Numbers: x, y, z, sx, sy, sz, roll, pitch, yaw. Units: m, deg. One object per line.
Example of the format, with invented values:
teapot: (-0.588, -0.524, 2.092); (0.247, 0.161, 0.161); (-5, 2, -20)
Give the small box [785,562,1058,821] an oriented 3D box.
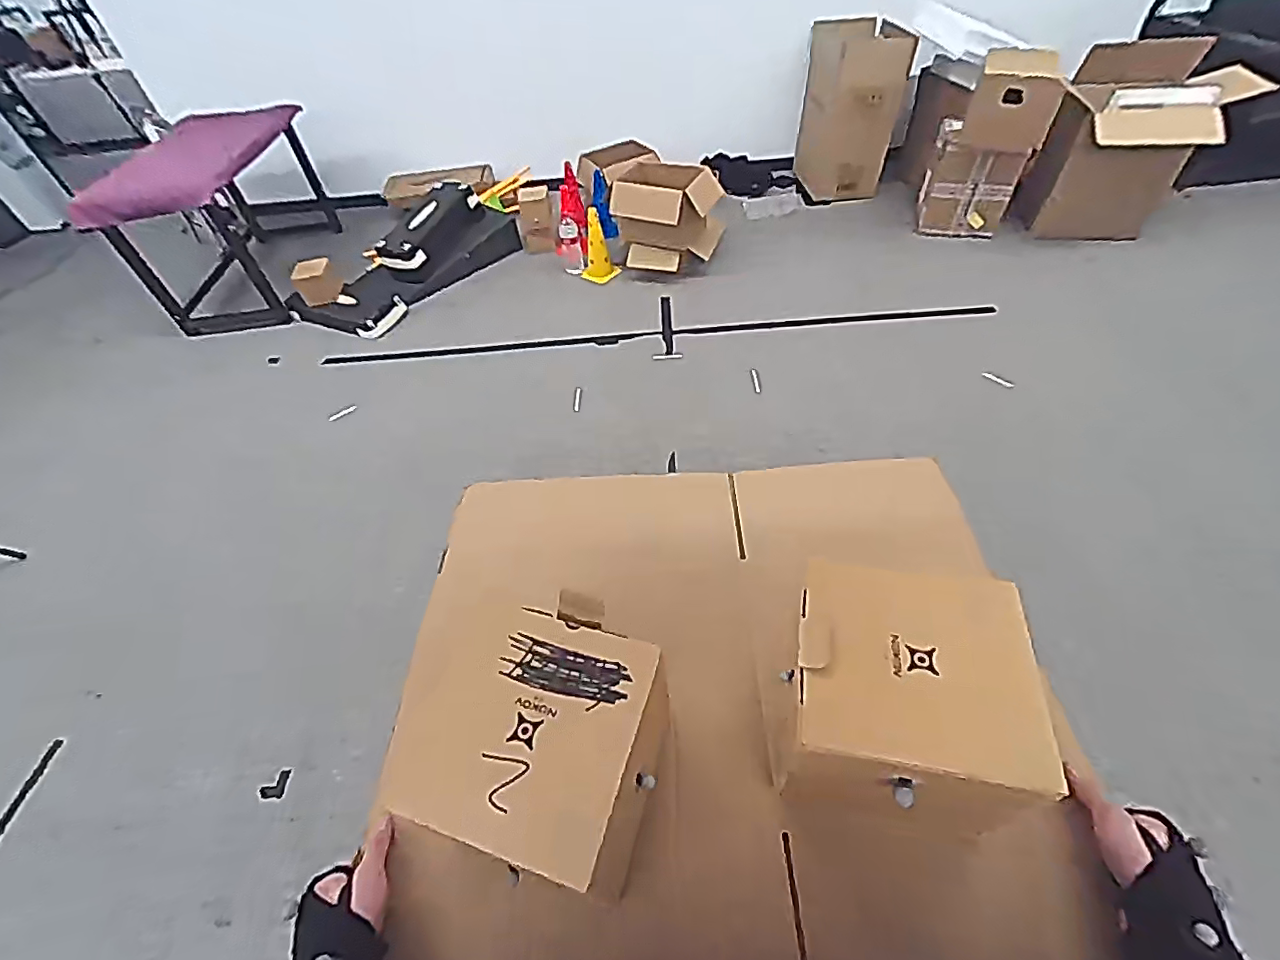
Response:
small box: (0.234, 0.198, 0.502); (0.179, 0.176, 0.168); (4, 50, 14)
